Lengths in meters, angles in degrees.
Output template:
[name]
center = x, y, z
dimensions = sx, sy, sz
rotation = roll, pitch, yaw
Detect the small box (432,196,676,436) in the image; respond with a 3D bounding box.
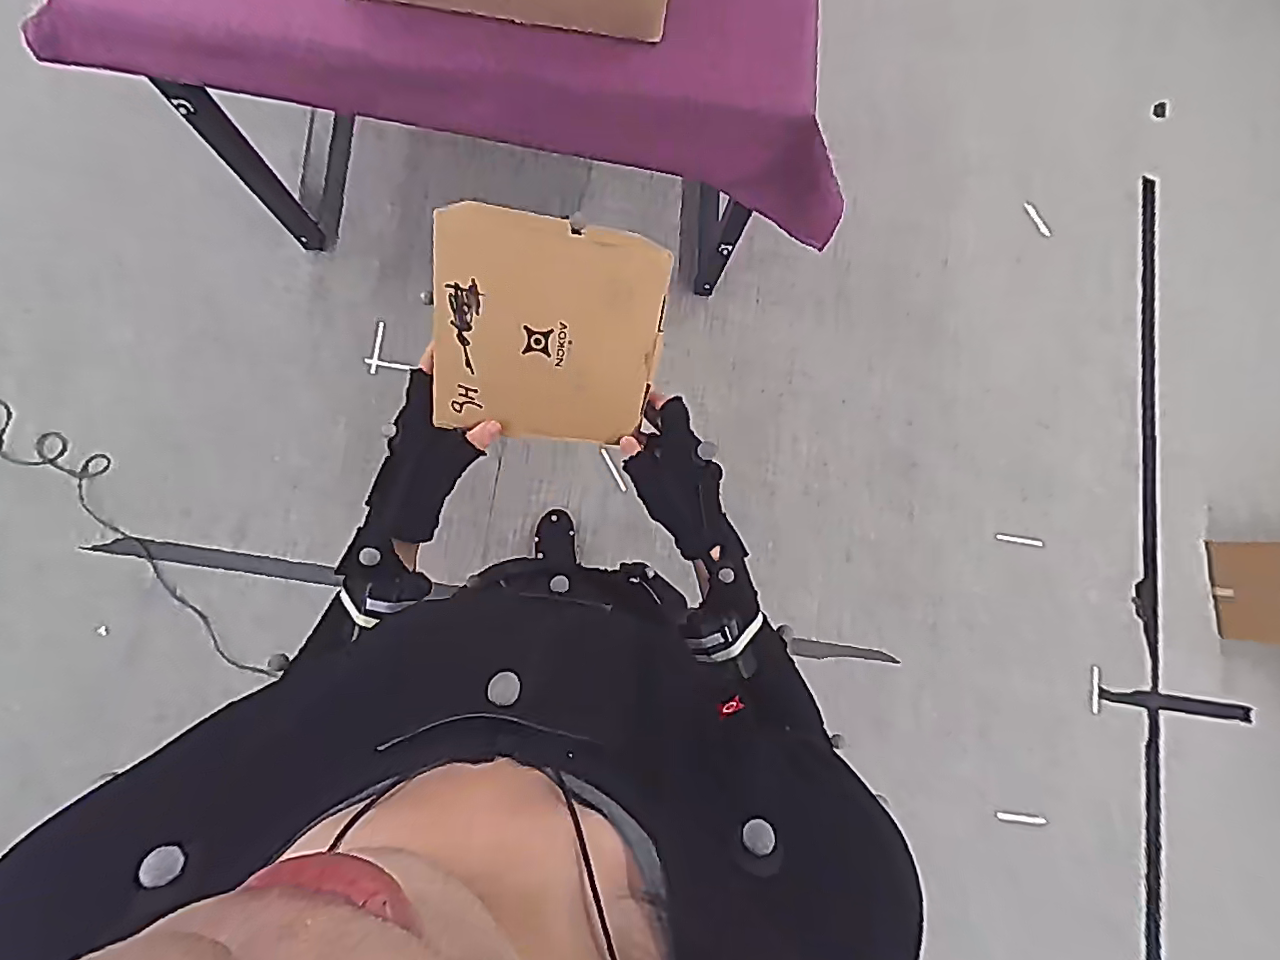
[small box]
center = -0.085, -0.154, 0.492
dimensions = 0.179, 0.176, 0.168
rotation = 5, 116, -14
